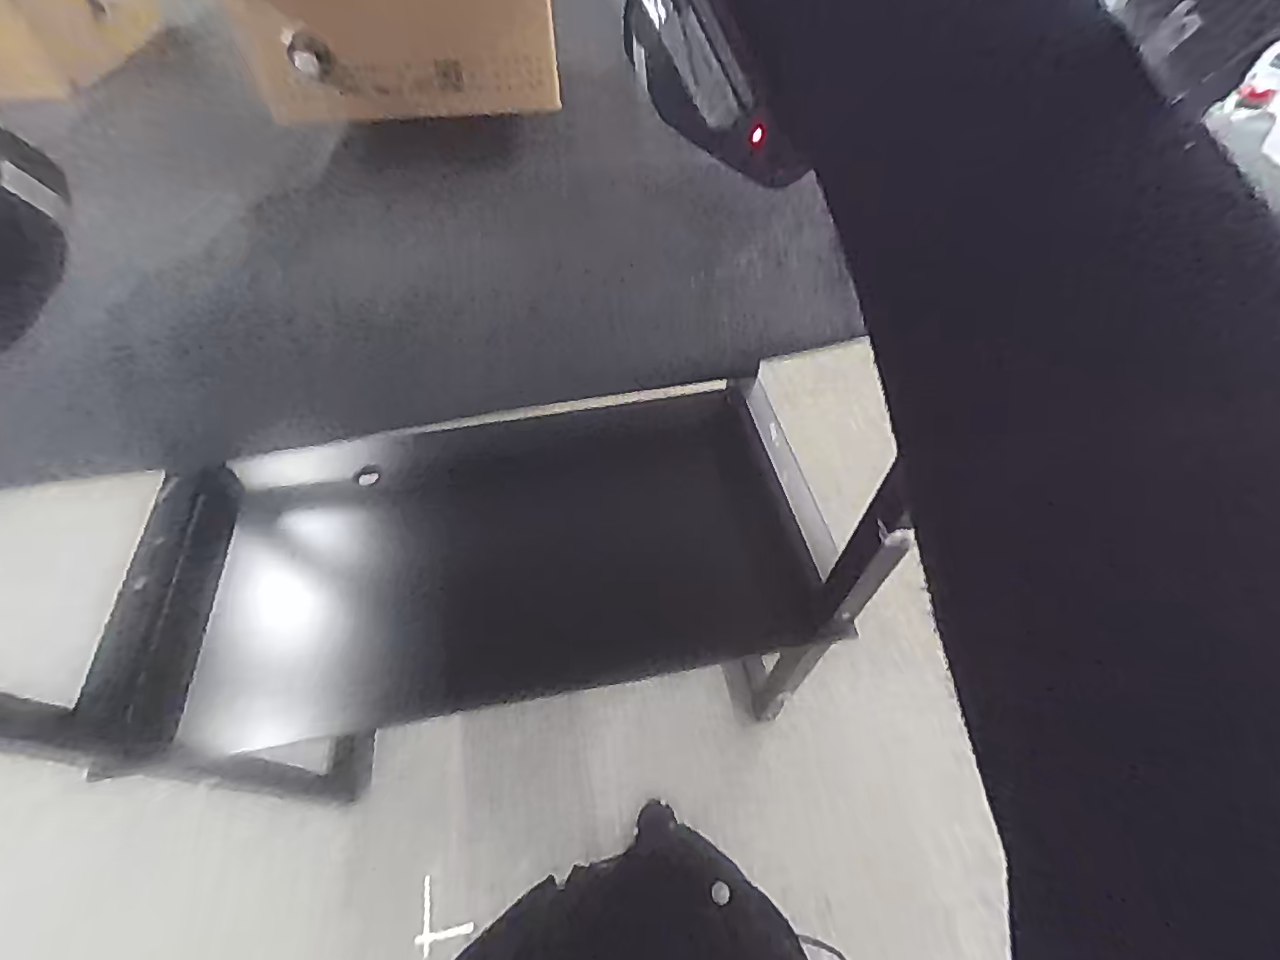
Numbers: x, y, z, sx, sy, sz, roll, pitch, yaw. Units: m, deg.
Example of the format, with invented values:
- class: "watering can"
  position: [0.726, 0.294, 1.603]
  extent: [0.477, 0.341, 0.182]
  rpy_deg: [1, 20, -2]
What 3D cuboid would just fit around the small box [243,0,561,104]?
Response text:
- class: "small box"
  position: [-0.139, -0.336, 0.314]
  extent: [0.168, 0.176, 0.179]
  rpy_deg: [-6, 49, -6]
